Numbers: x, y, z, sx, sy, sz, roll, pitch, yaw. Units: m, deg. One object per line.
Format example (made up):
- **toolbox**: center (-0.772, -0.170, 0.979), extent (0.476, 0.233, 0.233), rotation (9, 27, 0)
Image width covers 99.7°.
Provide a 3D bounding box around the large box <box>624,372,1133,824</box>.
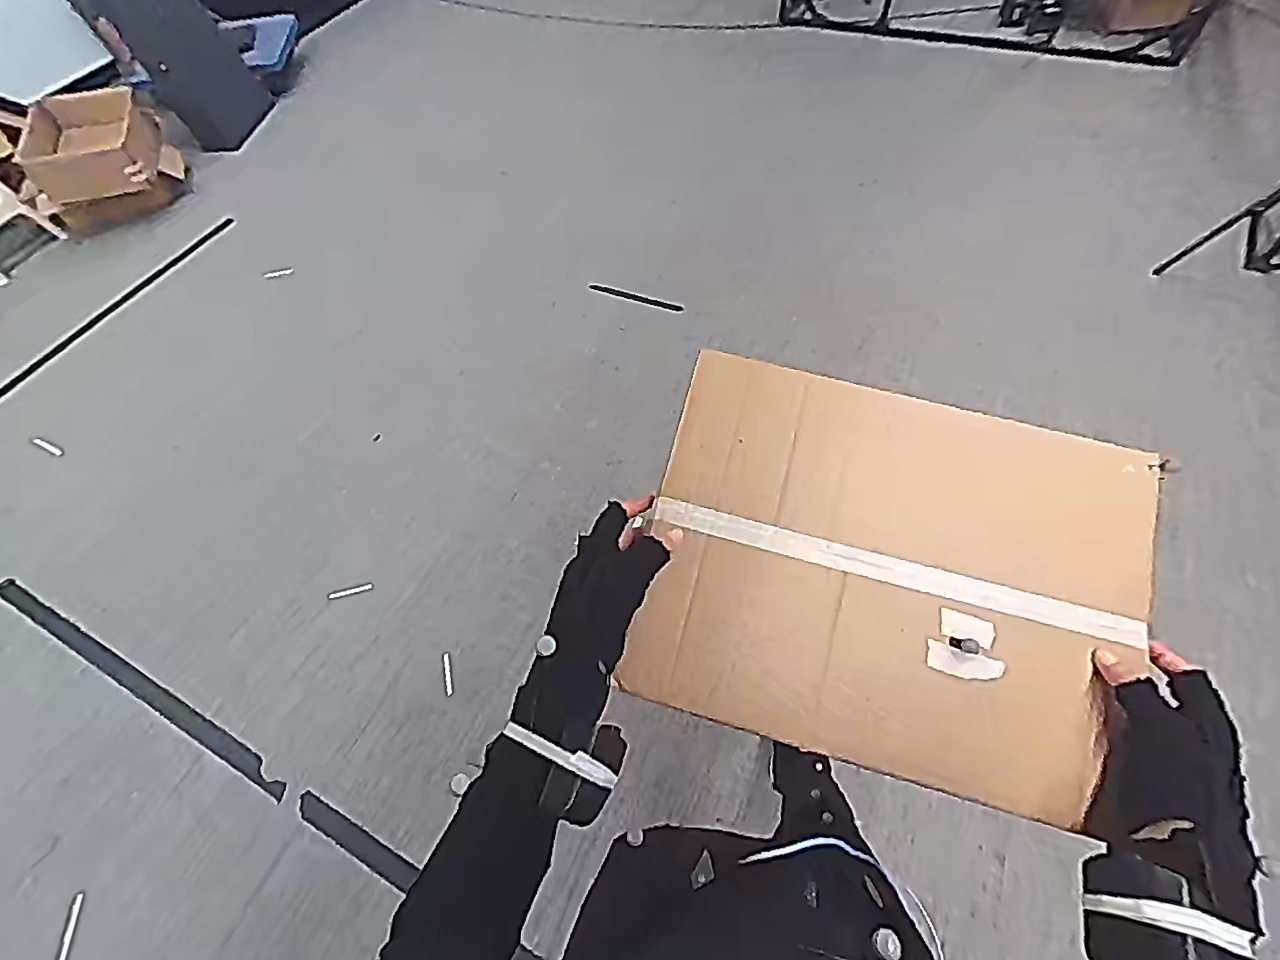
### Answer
- **large box**: center (0.219, 0.115, 0.619), extent (0.408, 0.320, 0.320), rotation (15, 79, 6)
